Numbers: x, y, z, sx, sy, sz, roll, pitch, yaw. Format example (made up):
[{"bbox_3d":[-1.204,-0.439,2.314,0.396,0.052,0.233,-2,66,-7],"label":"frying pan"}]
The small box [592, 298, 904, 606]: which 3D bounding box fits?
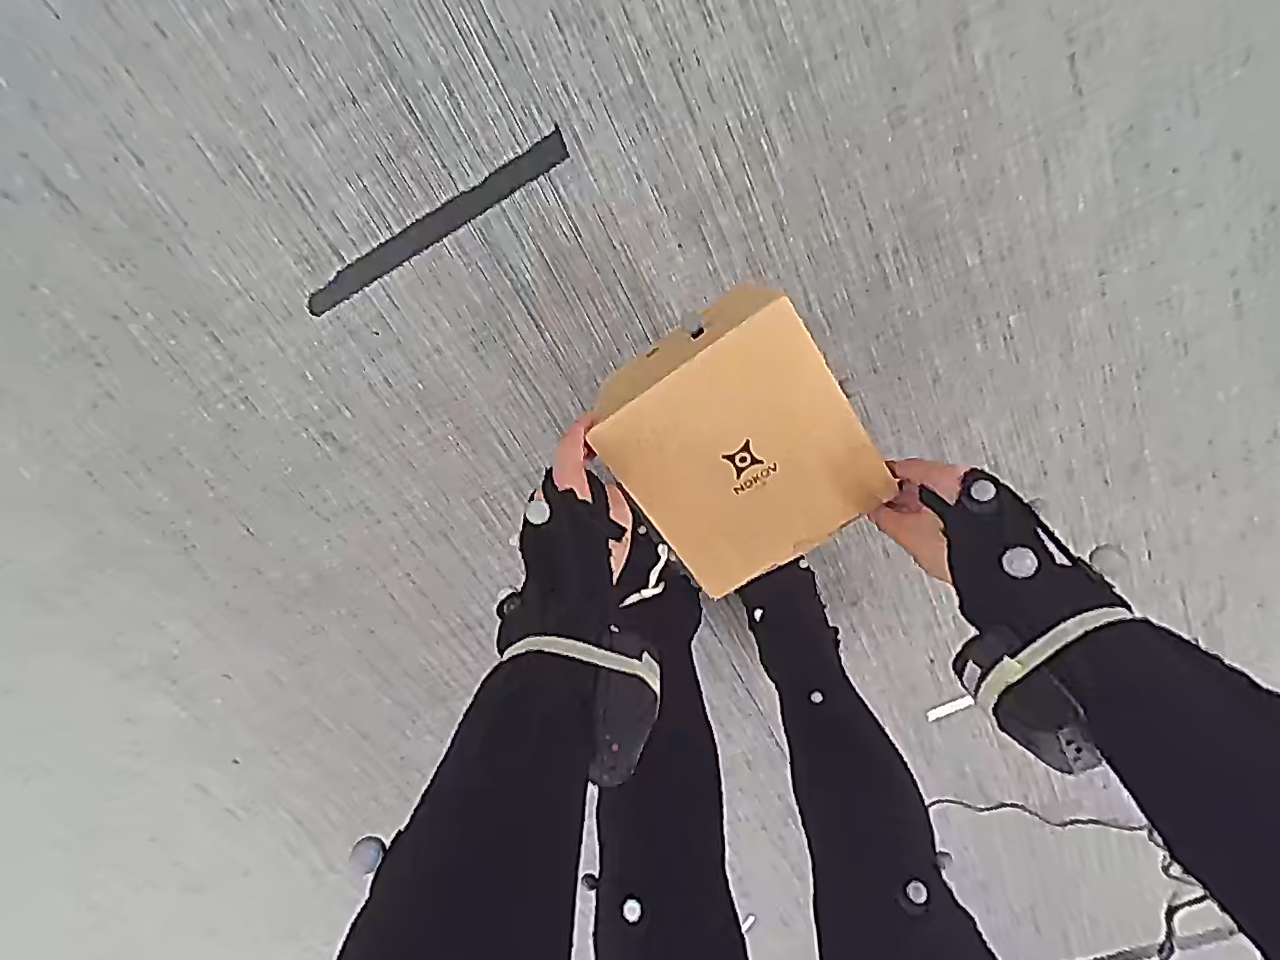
[{"bbox_3d":[0.078,-0.036,0.459,0.168,0.176,0.179,-33,110,14],"label":"small box"}]
